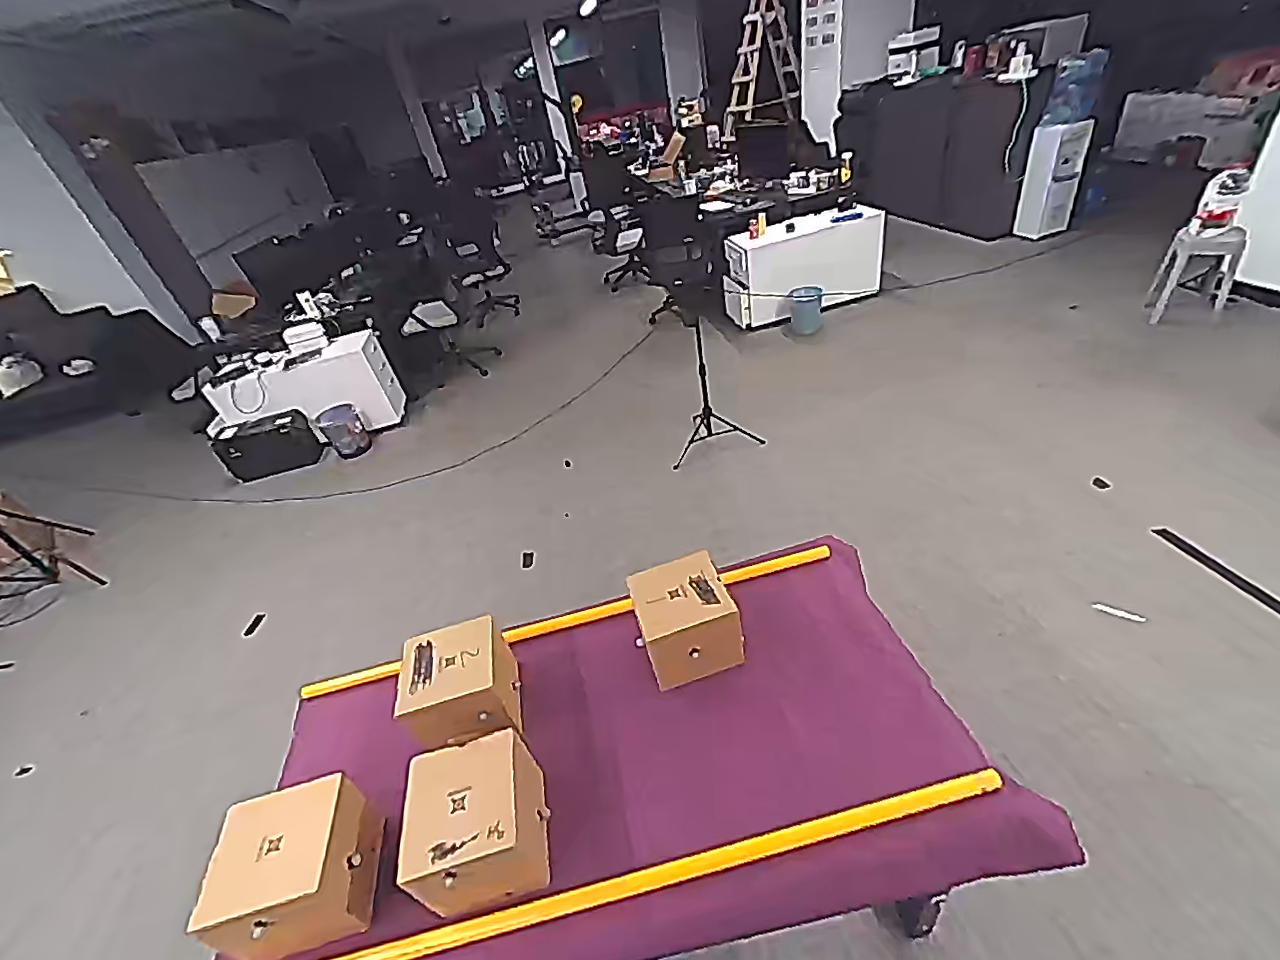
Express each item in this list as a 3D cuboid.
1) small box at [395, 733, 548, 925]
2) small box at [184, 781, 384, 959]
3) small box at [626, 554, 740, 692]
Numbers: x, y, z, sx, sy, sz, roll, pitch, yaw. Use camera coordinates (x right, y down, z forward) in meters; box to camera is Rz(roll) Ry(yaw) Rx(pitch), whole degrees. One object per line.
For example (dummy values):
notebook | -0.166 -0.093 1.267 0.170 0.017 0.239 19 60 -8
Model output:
small box | -0.246 0.532 0.828 0.168 0.176 0.179 -16 36 -3
small box | -0.517 0.600 0.823 0.179 0.176 0.168 -16 36 -5
small box | 0.087 0.280 1.057 0.179 0.176 0.168 -18 37 -5
